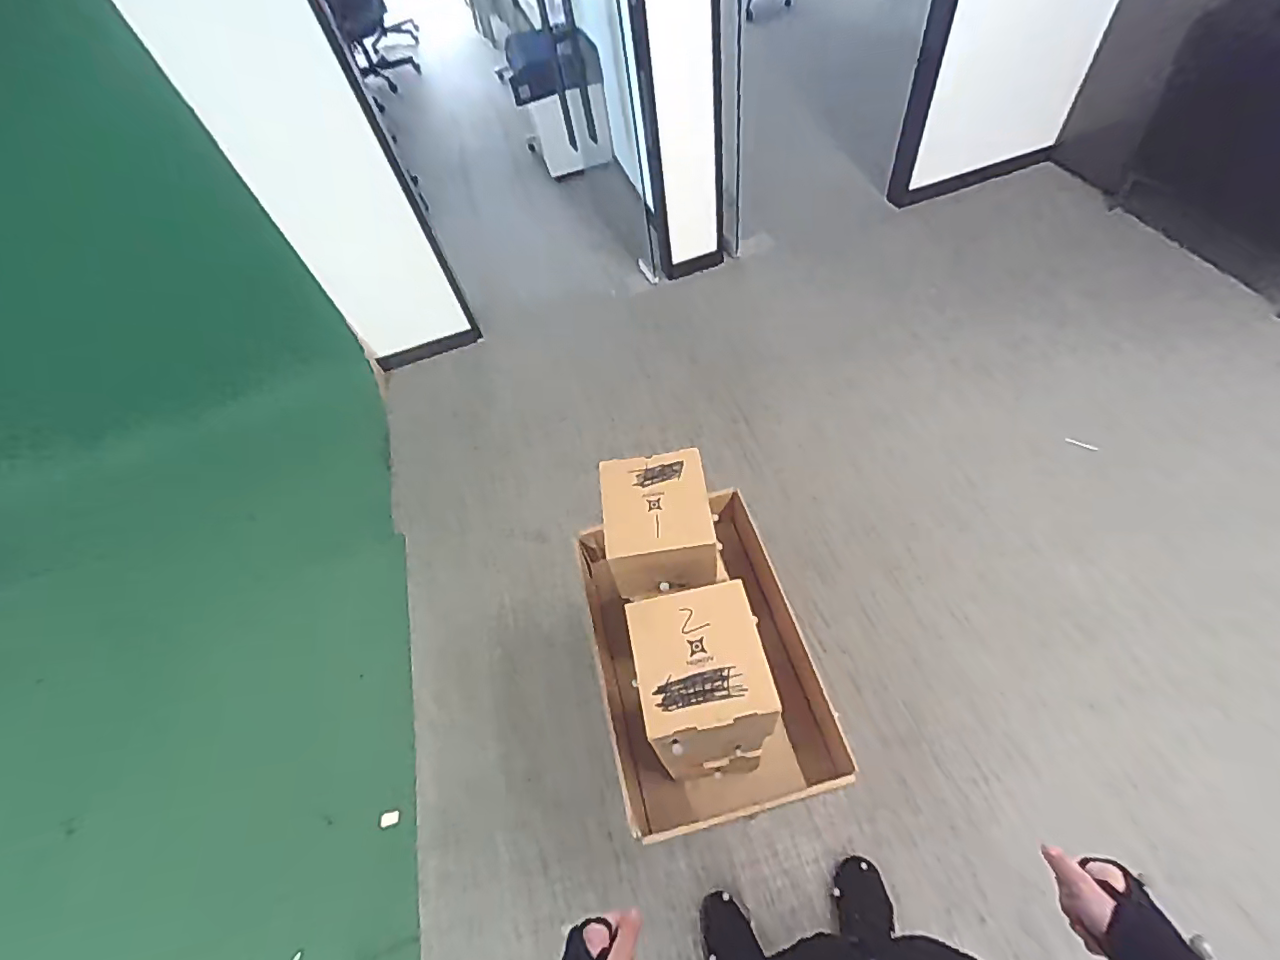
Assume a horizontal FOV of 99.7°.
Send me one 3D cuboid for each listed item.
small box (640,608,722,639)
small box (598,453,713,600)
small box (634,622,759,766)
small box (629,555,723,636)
[{"bbox_3d":[0.071,0.260,1.171,0.168,0.176,0.179,-17,56,-2],"label":"small box"},{"bbox_3d":[0.026,0.081,0.902,0.168,0.176,0.179,-9,57,3],"label":"small box"},{"bbox_3d":[0.092,0.361,0.895,0.168,0.176,0.179,-12,54,0],"label":"small box"},{"bbox_3d":[0.050,0.173,1.036,0.168,0.176,0.179,-16,57,-3],"label":"small box"}]
